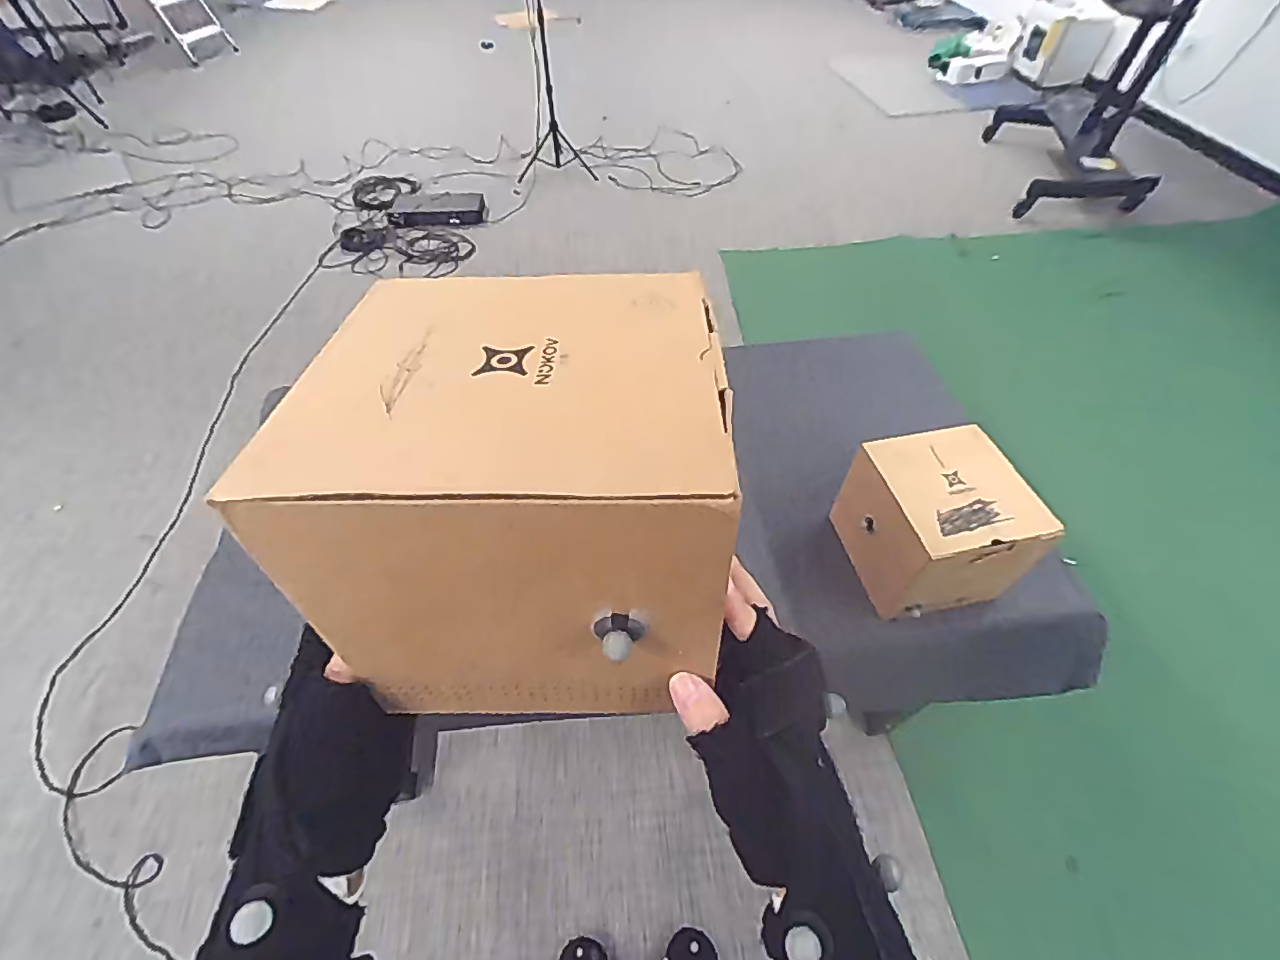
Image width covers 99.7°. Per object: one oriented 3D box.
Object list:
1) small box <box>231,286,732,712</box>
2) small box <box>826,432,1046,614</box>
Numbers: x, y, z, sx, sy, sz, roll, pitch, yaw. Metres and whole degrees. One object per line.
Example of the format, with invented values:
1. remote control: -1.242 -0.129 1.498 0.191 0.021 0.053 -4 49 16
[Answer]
1. small box: -0.053 0.011 0.296 0.179 0.176 0.168 -2 43 2
2. small box: 0.375 0.065 0.724 0.168 0.176 0.179 -9 51 -6
